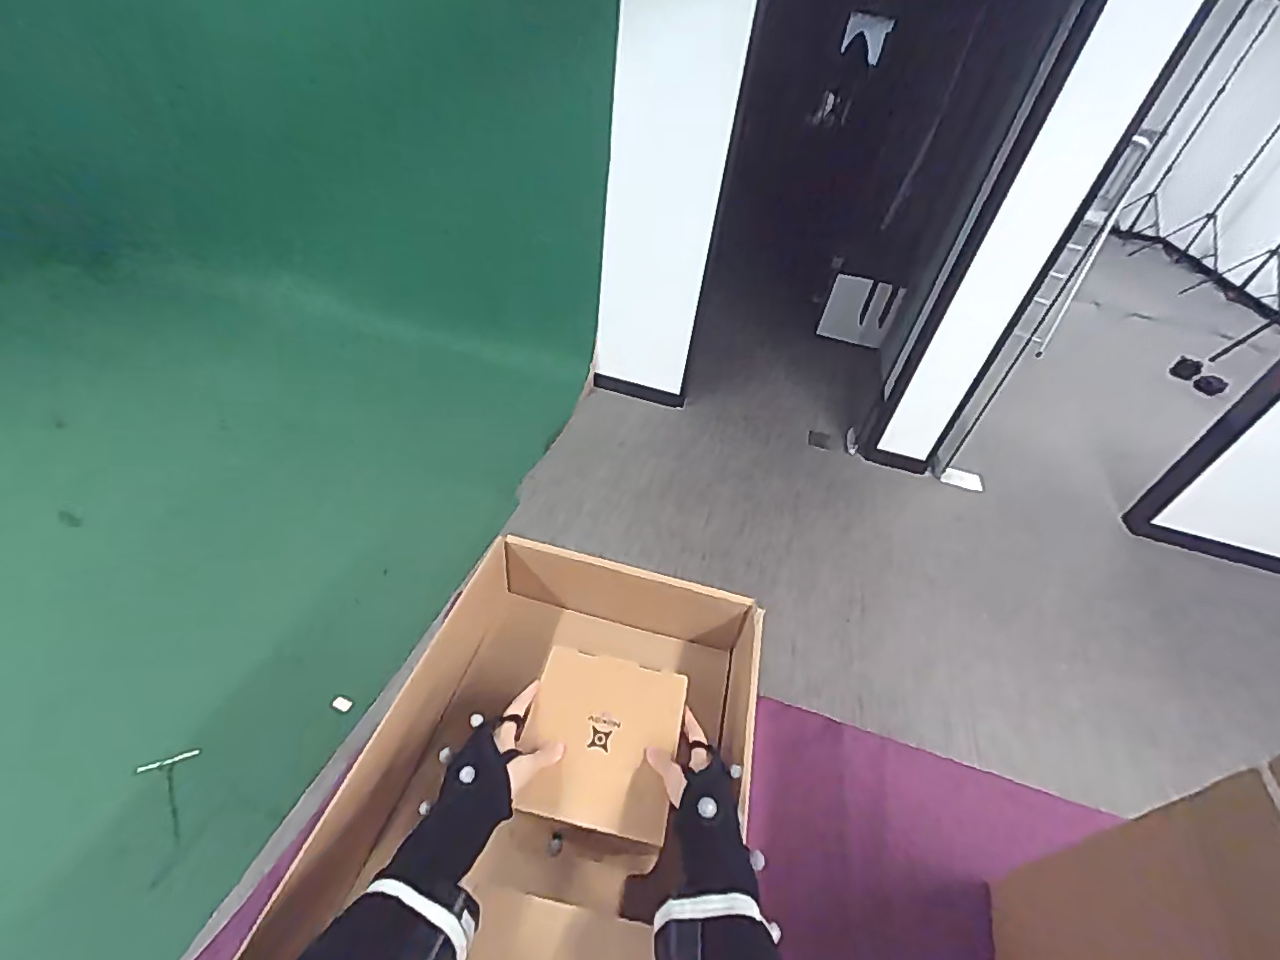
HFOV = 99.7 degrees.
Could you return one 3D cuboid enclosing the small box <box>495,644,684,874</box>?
[{"bbox_3d":[-0.050,0.327,0.631,0.168,0.176,0.179,11,43,6],"label":"small box"}]
